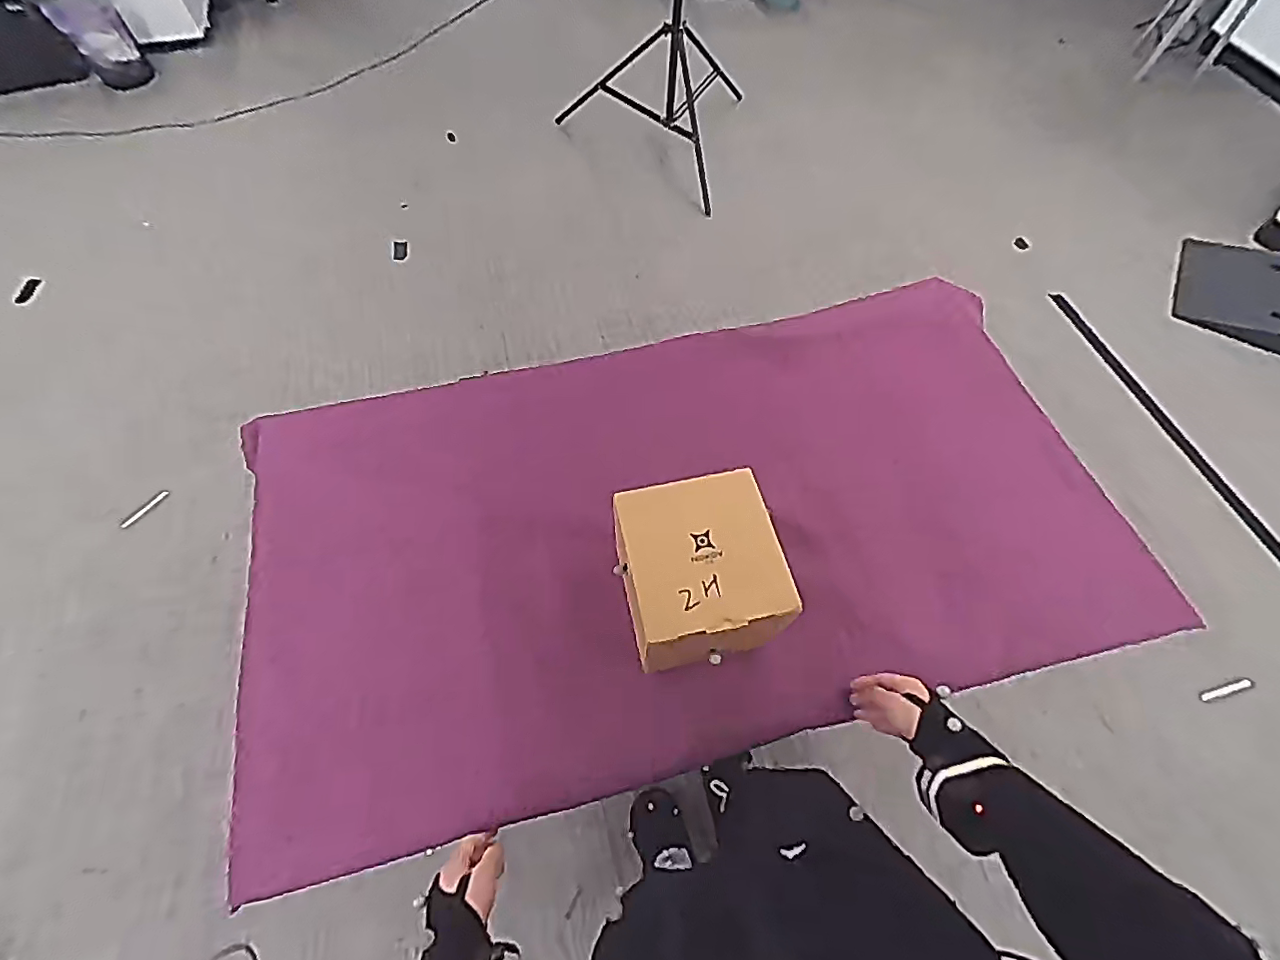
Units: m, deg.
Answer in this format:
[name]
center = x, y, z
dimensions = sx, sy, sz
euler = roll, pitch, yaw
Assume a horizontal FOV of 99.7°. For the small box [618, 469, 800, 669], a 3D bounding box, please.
[small box]
center = 0.068, 0.113, 0.658
dimensions = 0.168, 0.176, 0.179
euler = -11, 62, -6
